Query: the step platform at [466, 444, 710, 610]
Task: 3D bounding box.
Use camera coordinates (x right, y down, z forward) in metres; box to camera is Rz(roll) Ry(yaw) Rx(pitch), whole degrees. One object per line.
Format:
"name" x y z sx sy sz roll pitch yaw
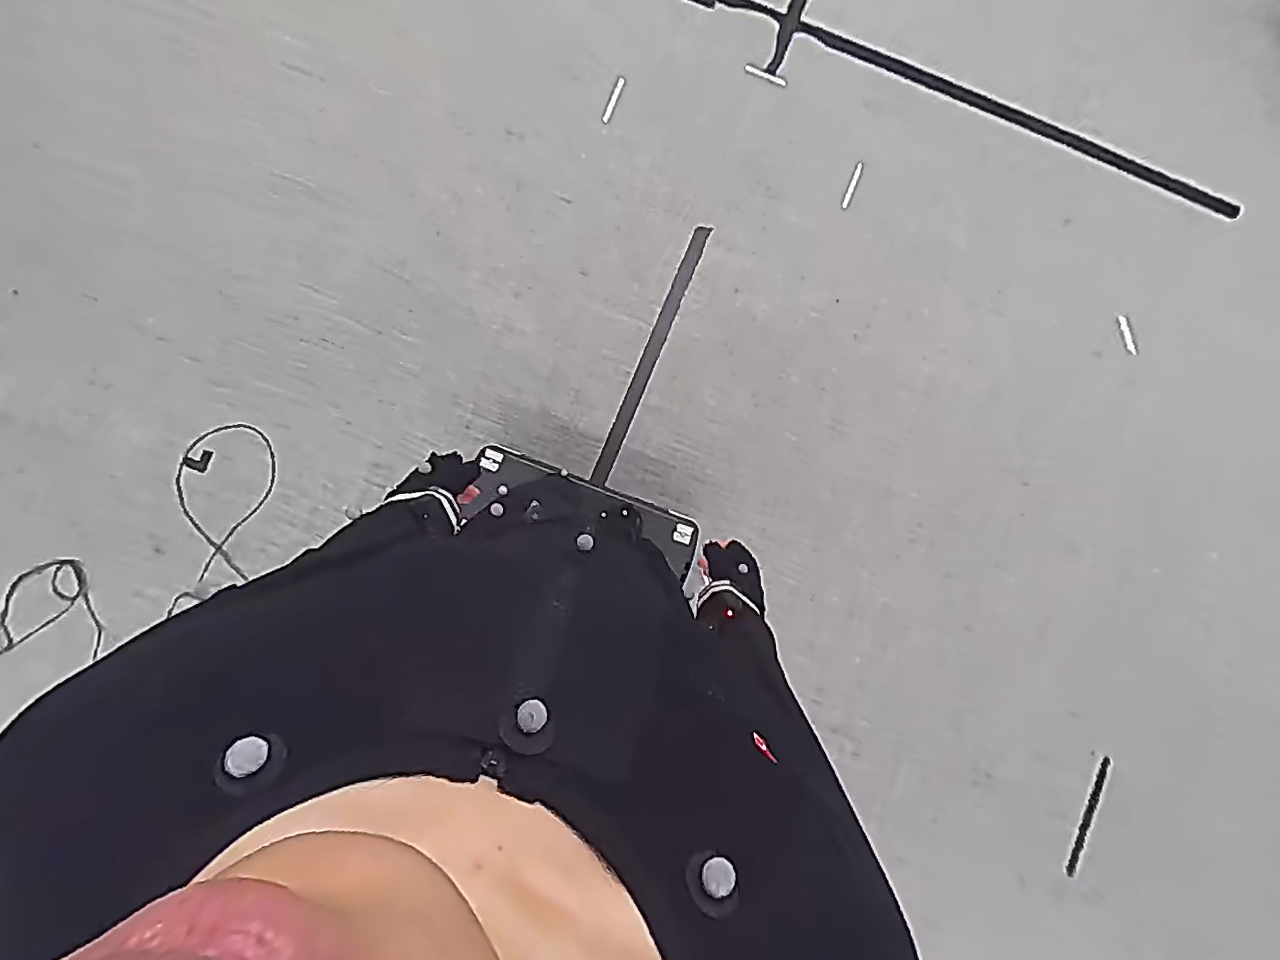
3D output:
"step platform" -0.144 0.135 1.573 0.684 0.204 0.286 20 88 -3
